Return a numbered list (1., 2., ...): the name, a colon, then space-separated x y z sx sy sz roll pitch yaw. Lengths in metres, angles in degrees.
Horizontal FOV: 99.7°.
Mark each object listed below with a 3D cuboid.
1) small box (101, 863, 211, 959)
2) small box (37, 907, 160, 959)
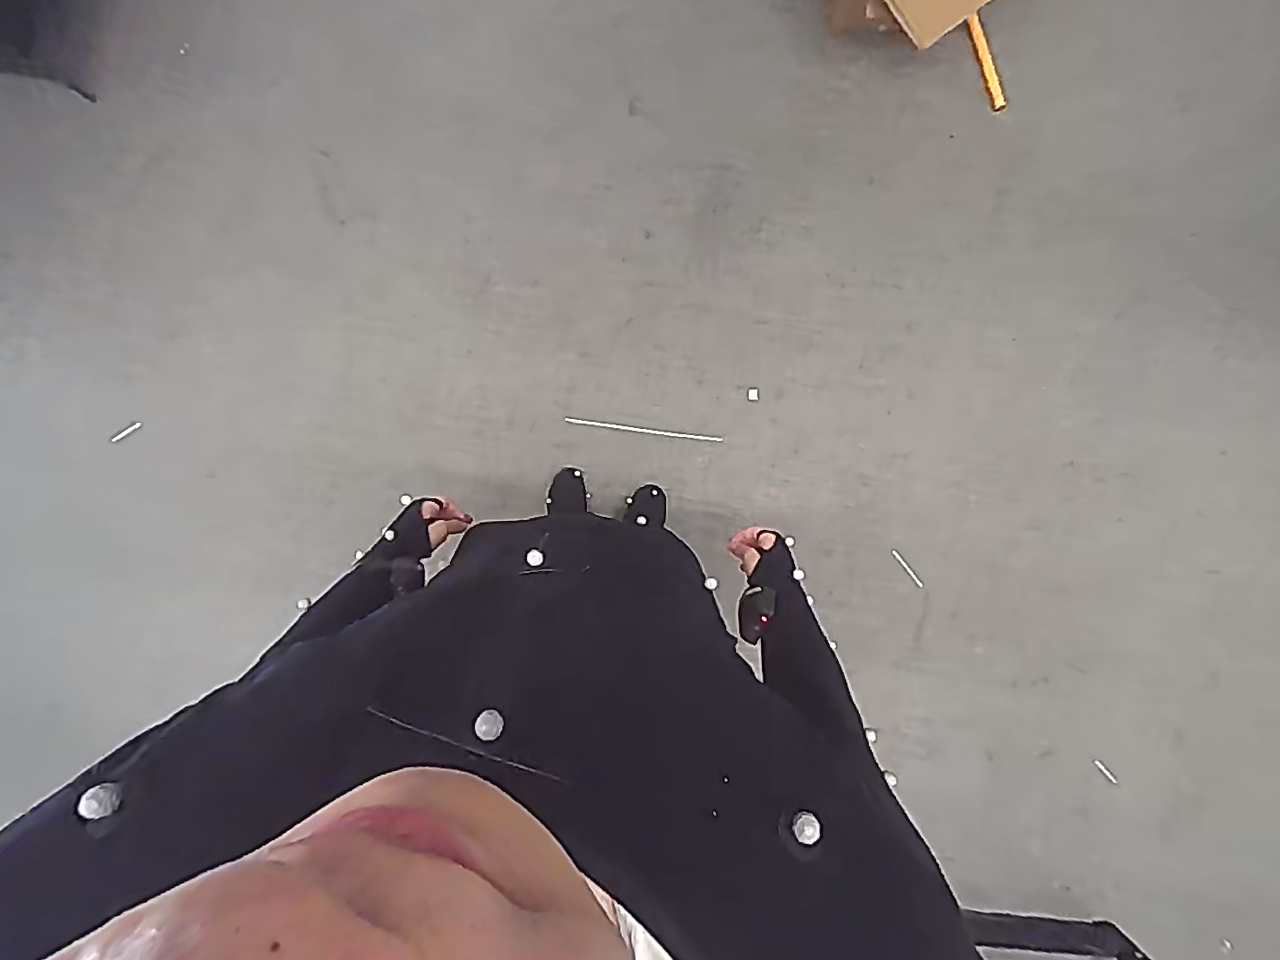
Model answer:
1. small box: -1.356 1.217 1.512 0.179 0.176 0.168 12 91 -1
2. small box: -1.353 1.222 1.347 0.168 0.176 0.179 7 91 -2
